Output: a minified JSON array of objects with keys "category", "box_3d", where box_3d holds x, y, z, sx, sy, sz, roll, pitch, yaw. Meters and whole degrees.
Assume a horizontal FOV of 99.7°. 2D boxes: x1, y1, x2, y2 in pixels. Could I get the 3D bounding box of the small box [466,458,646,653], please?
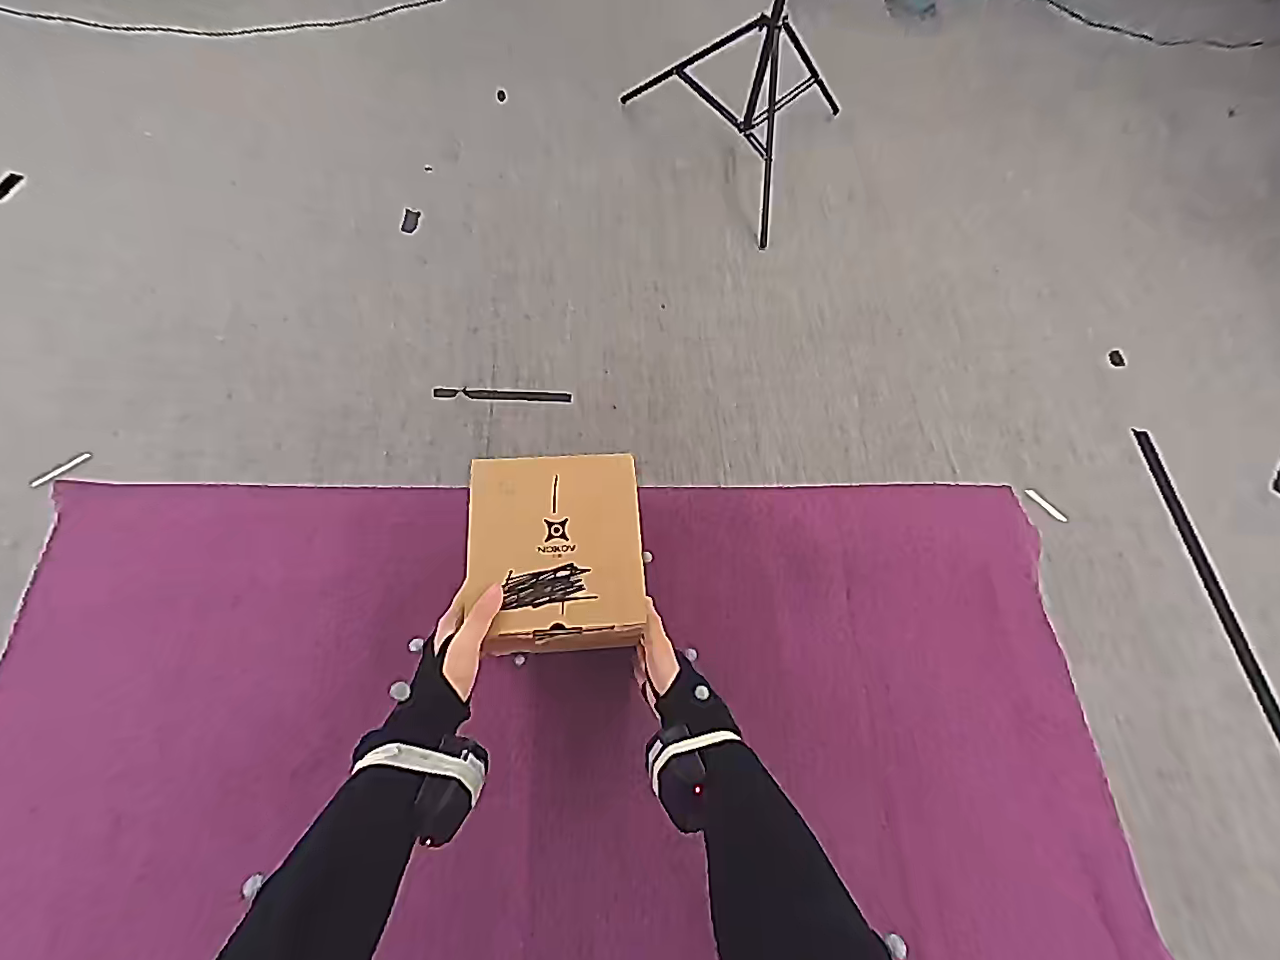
[{"category":"small box","box_3d":[-0.084,0.091,0.591,0.168,0.176,0.179,-3,67,-6]}]
